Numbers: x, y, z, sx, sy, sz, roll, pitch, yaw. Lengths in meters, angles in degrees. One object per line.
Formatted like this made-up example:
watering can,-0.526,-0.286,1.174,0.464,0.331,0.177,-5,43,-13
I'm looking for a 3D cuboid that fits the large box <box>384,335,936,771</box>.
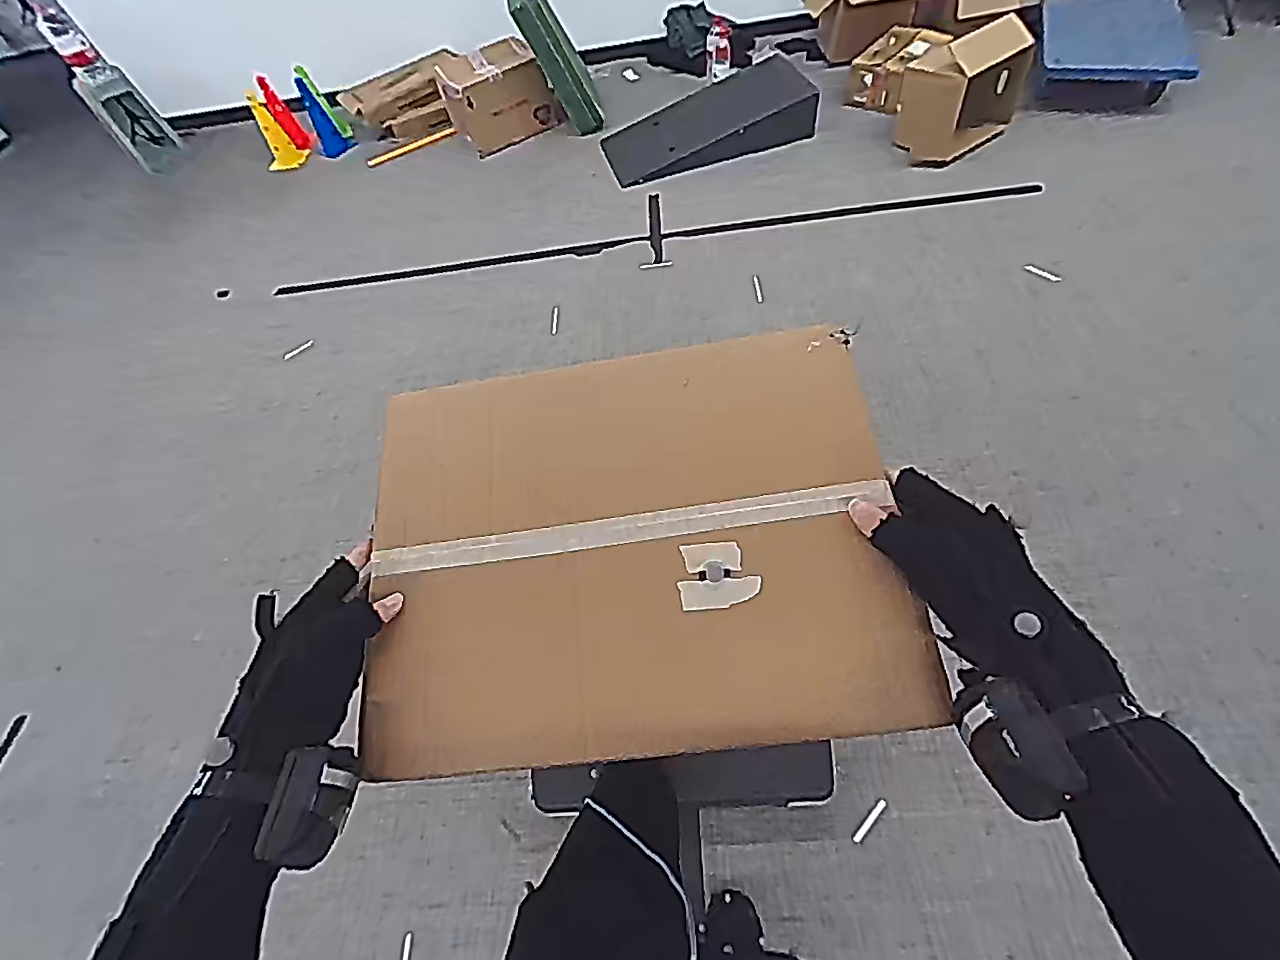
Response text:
large box,0.009,0.097,0.572,0.408,0.320,0.320,-8,68,5
